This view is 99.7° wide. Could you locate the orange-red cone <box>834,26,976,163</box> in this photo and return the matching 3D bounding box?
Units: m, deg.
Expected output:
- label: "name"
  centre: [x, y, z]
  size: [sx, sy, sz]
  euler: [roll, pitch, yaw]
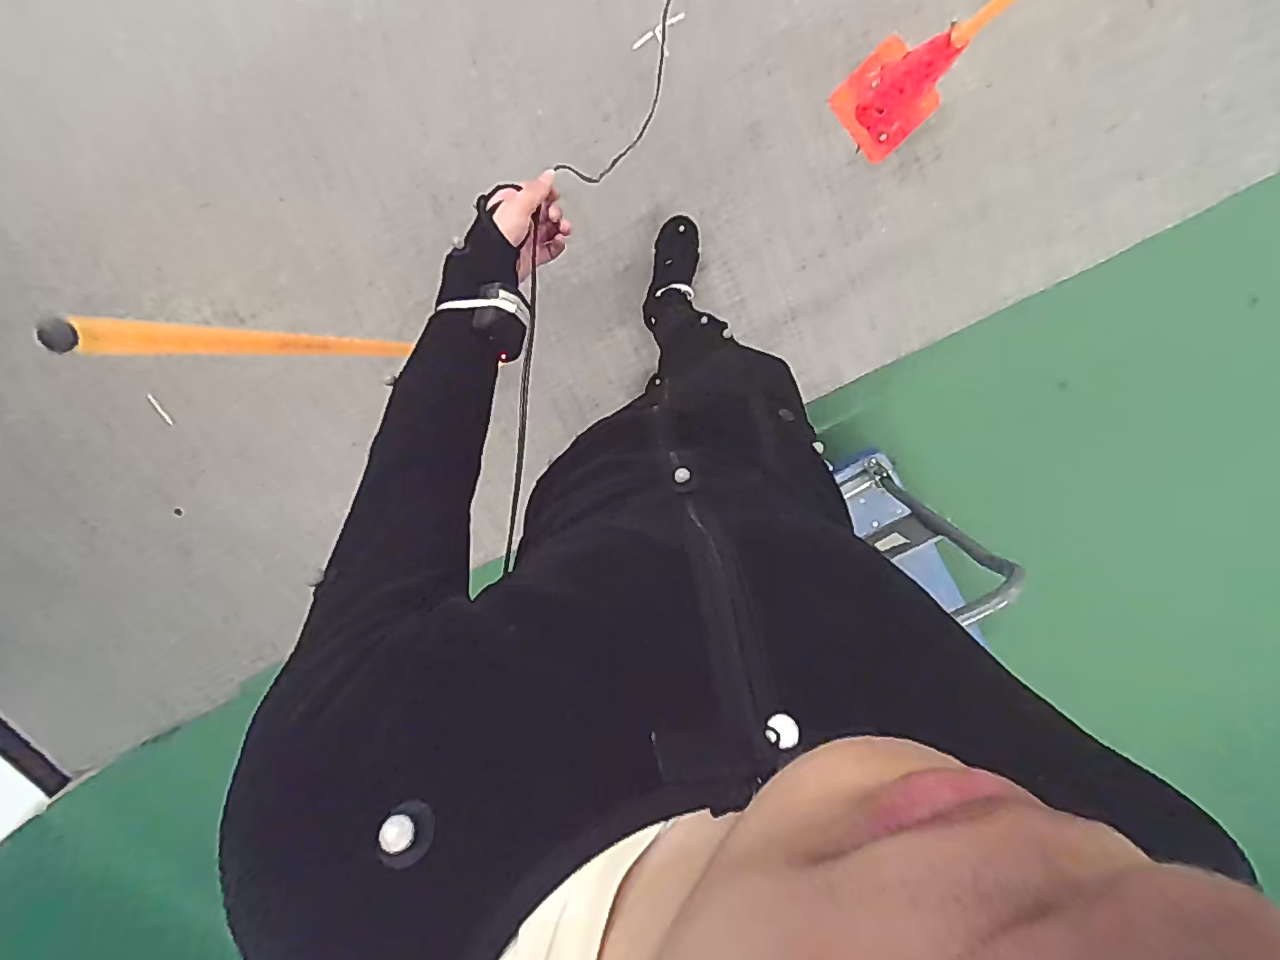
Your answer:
- label: "orange-red cone"
  centre: [0.589, -0.851, 1.136]
  size: [0.199, 0.360, 0.198]
  euler: [-41, 103, 13]
